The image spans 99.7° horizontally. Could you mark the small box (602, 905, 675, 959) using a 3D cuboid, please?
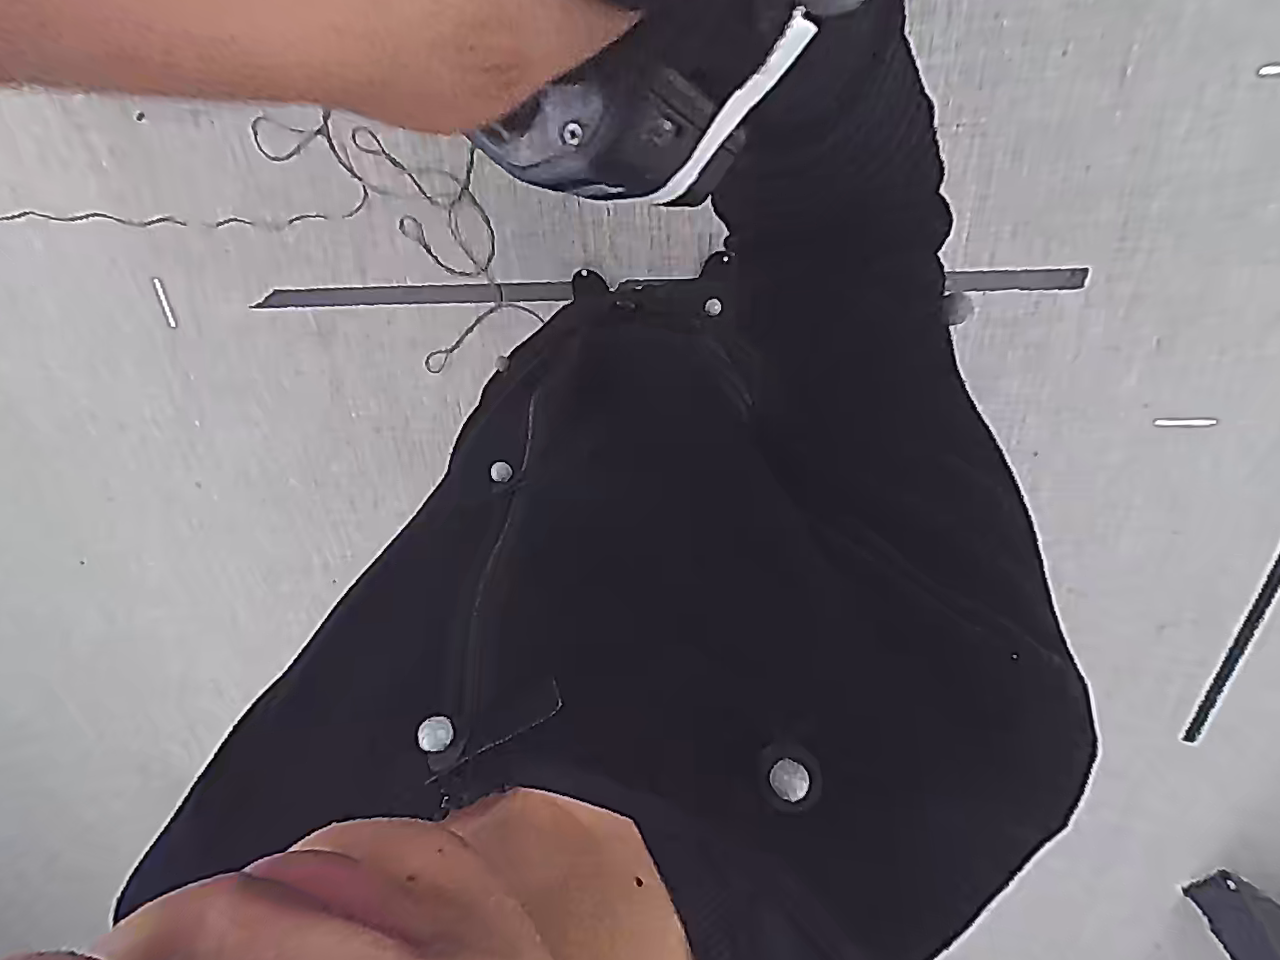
[{"bbox_3d":[-0.001,1.183,1.330,0.168,0.176,0.179,-4,115,7],"label":"small box"}]
